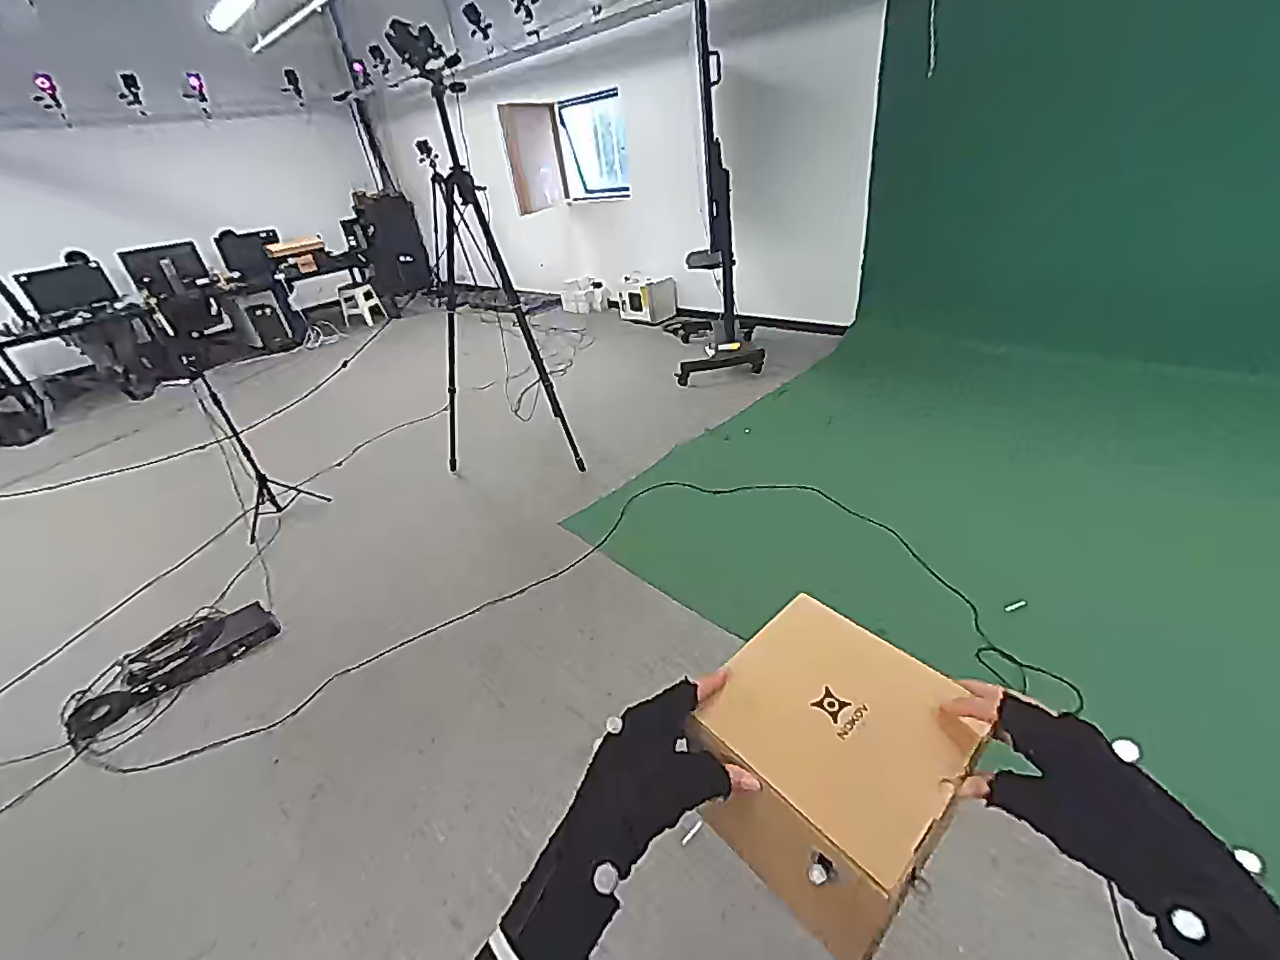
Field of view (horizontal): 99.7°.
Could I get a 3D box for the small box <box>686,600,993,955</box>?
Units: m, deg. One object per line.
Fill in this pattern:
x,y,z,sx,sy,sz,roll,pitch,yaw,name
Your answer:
0.158,0.247,0.469,0.168,0.176,0.179,-30,42,-30,small box
